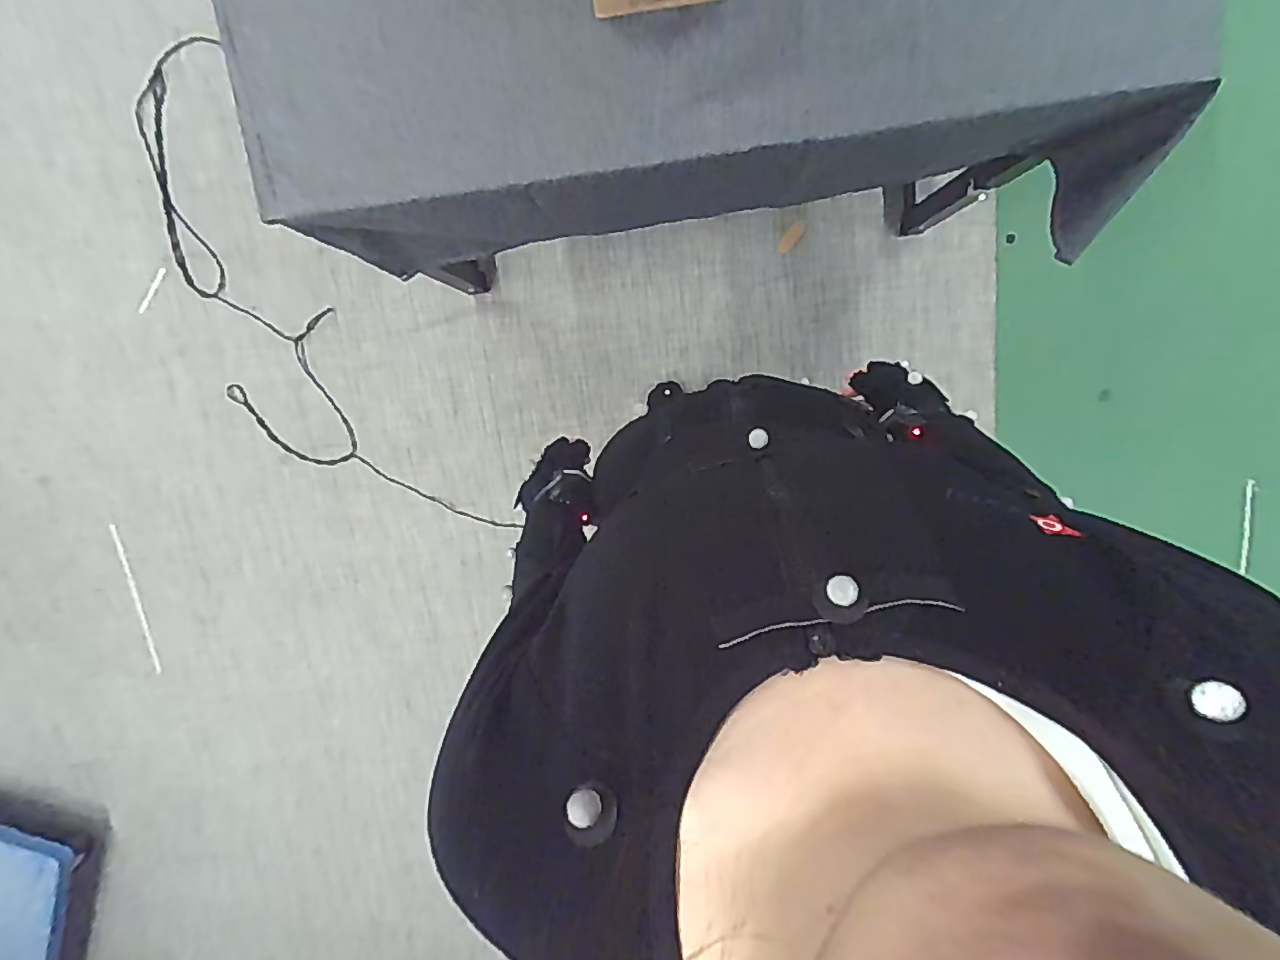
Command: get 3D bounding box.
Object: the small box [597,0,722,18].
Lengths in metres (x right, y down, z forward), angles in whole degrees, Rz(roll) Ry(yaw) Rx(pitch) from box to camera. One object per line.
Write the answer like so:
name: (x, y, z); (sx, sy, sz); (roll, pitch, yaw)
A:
small box: (0.017, -0.641, 0.563); (0.168, 0.176, 0.179); (-5, 100, 4)
